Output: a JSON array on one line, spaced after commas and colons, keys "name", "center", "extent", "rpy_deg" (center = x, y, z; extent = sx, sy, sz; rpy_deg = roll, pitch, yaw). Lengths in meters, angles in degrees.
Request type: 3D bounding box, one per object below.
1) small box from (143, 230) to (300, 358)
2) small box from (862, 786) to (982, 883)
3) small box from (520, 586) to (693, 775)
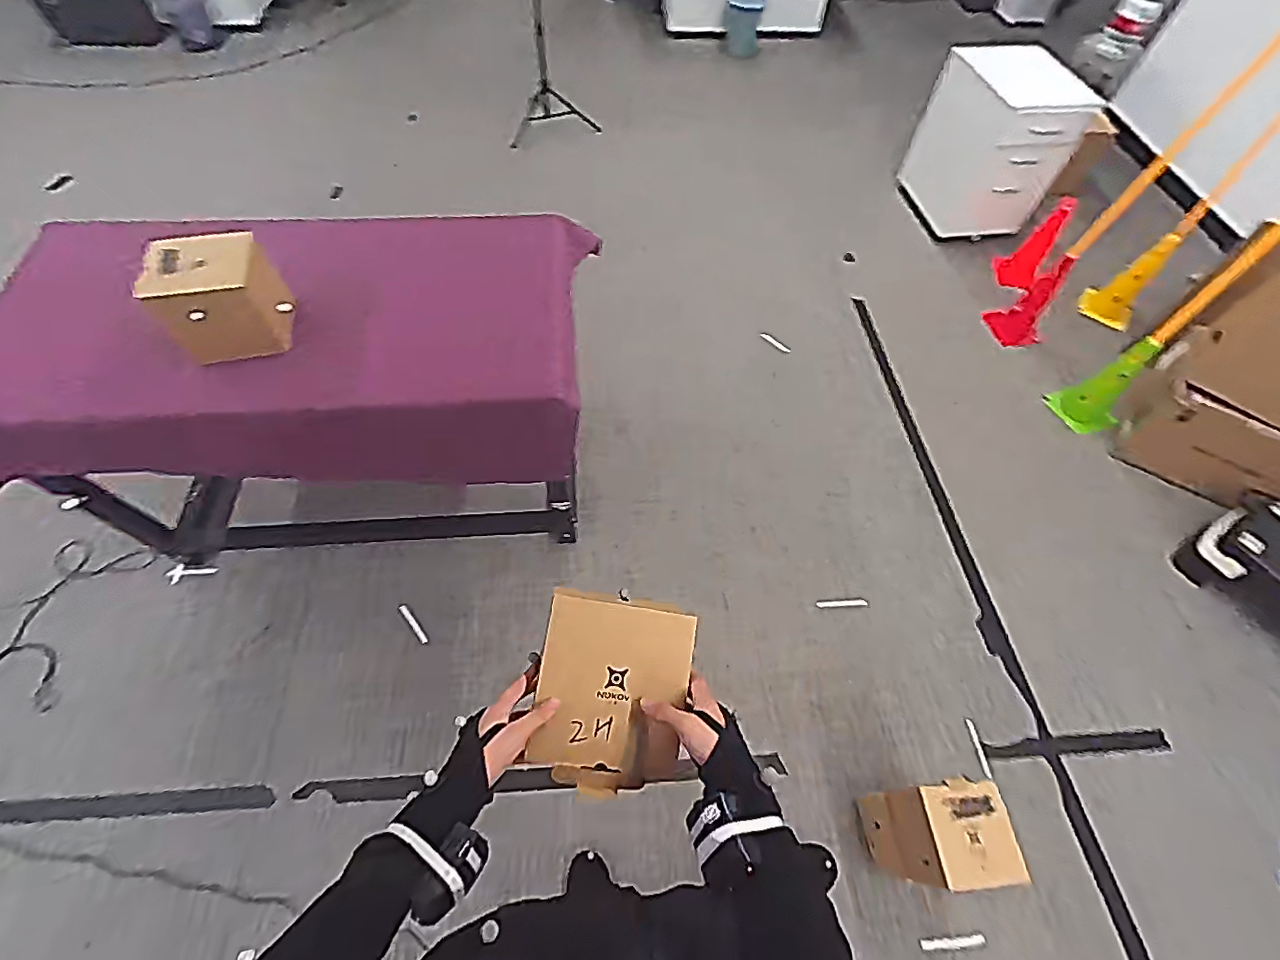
[{"name": "small box", "center": [-0.811, -0.361, 1.069], "extent": [0.179, 0.176, 0.168], "rpy_deg": [-11, 60, -10]}, {"name": "small box", "center": [0.644, 0.827, 1.268], "extent": [0.179, 0.176, 0.168], "rpy_deg": [-5, 59, -6]}, {"name": "small box", "center": [-0.045, 0.228, 0.660], "extent": [0.168, 0.176, 0.179], "rpy_deg": [11, 80, -7]}]
